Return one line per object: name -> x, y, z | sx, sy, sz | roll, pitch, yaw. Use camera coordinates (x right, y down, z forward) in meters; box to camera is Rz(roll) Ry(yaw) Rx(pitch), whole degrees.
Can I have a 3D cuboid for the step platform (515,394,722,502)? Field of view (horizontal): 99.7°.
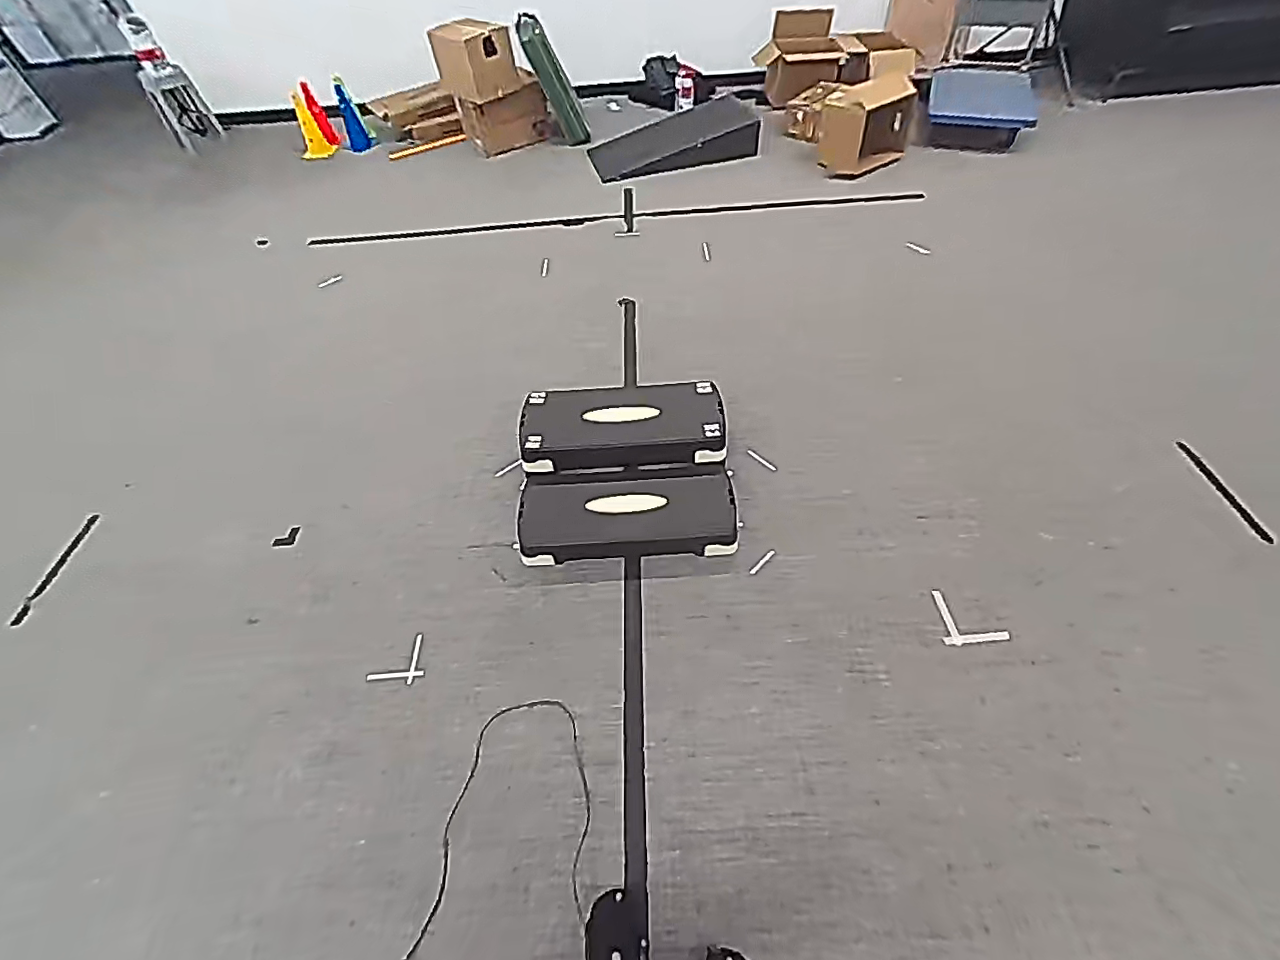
step platform -> -0.071, -0.113, 1.818 | 0.684, 0.204, 0.286 | -4, 52, 0
